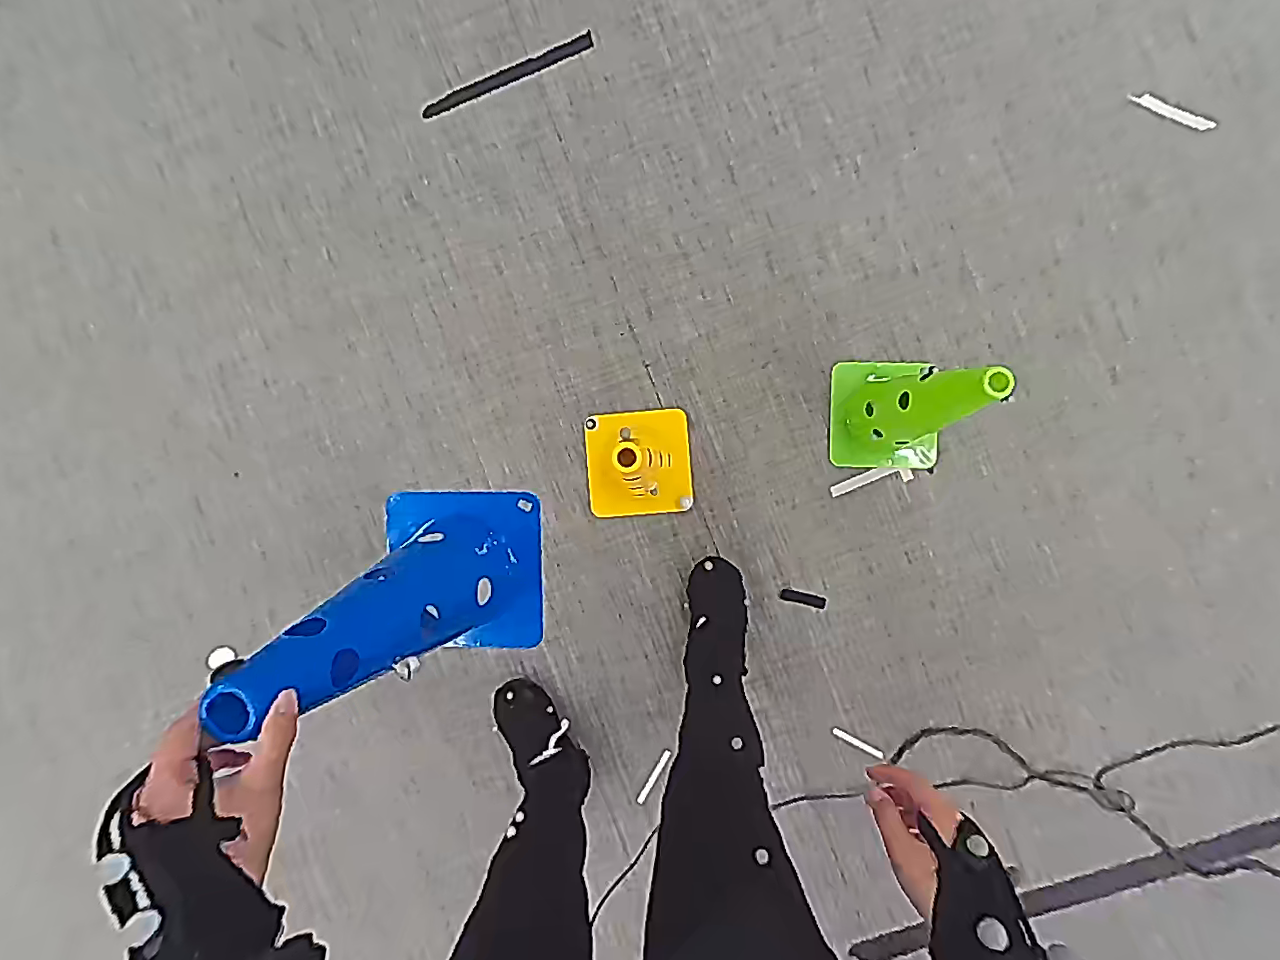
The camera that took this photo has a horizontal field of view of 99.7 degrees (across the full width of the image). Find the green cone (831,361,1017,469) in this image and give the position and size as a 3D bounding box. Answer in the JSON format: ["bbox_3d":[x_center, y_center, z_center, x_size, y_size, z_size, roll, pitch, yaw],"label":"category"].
[{"bbox_3d":[0.453,-0.119,0.849,0.200,0.368,0.202,1,91,3],"label":"green cone"}]
